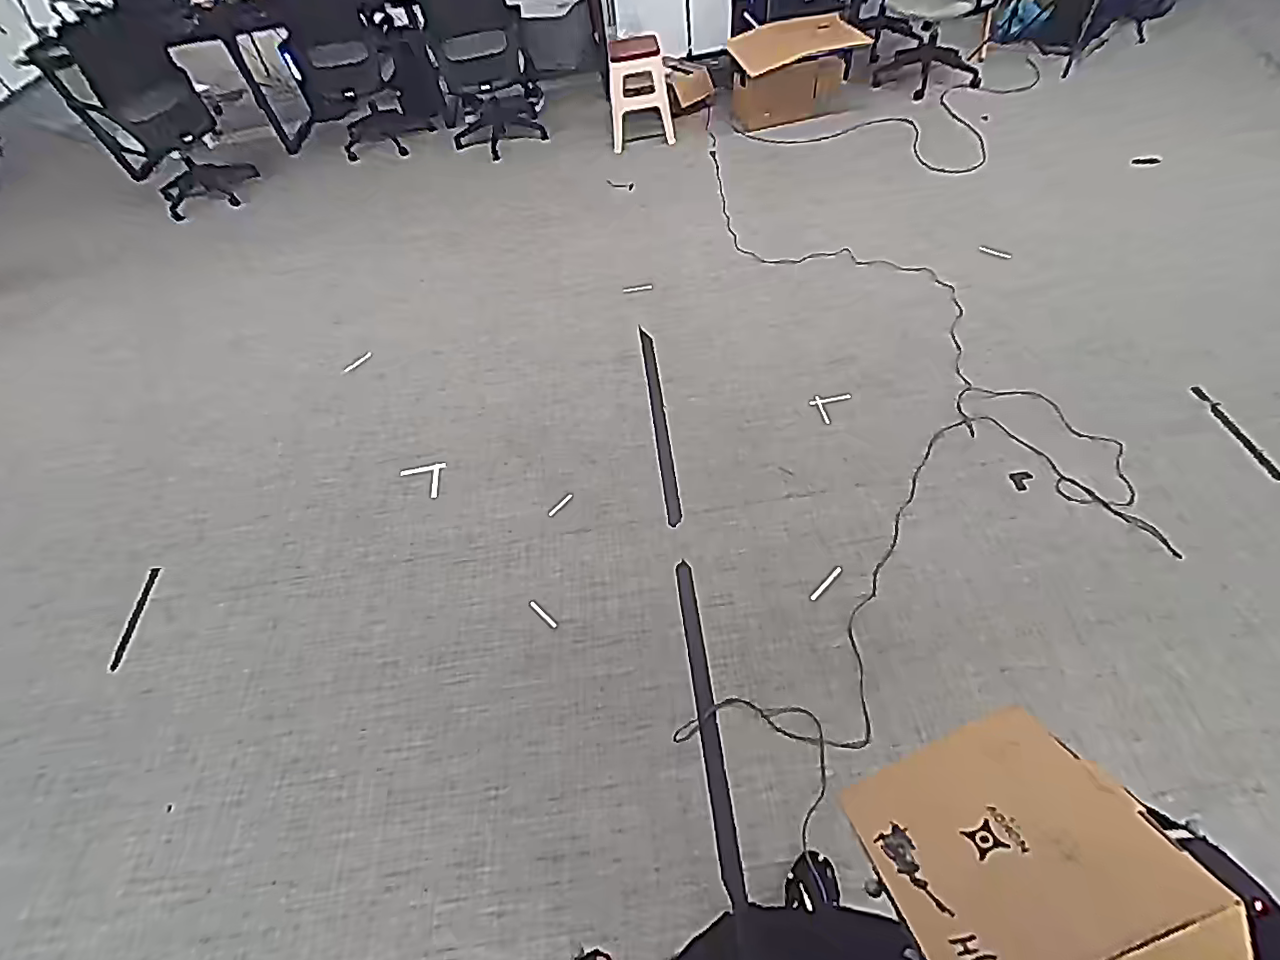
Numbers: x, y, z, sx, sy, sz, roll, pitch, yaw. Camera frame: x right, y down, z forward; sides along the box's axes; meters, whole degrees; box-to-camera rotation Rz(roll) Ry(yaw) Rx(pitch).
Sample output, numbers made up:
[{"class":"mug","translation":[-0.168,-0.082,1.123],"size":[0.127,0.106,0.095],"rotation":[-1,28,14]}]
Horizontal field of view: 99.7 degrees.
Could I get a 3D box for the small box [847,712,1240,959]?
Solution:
[{"class":"small box","translation":[0.300,0.330,0.422],"size":[0.179,0.176,0.168],"rotation":[-27,17,2]}]
